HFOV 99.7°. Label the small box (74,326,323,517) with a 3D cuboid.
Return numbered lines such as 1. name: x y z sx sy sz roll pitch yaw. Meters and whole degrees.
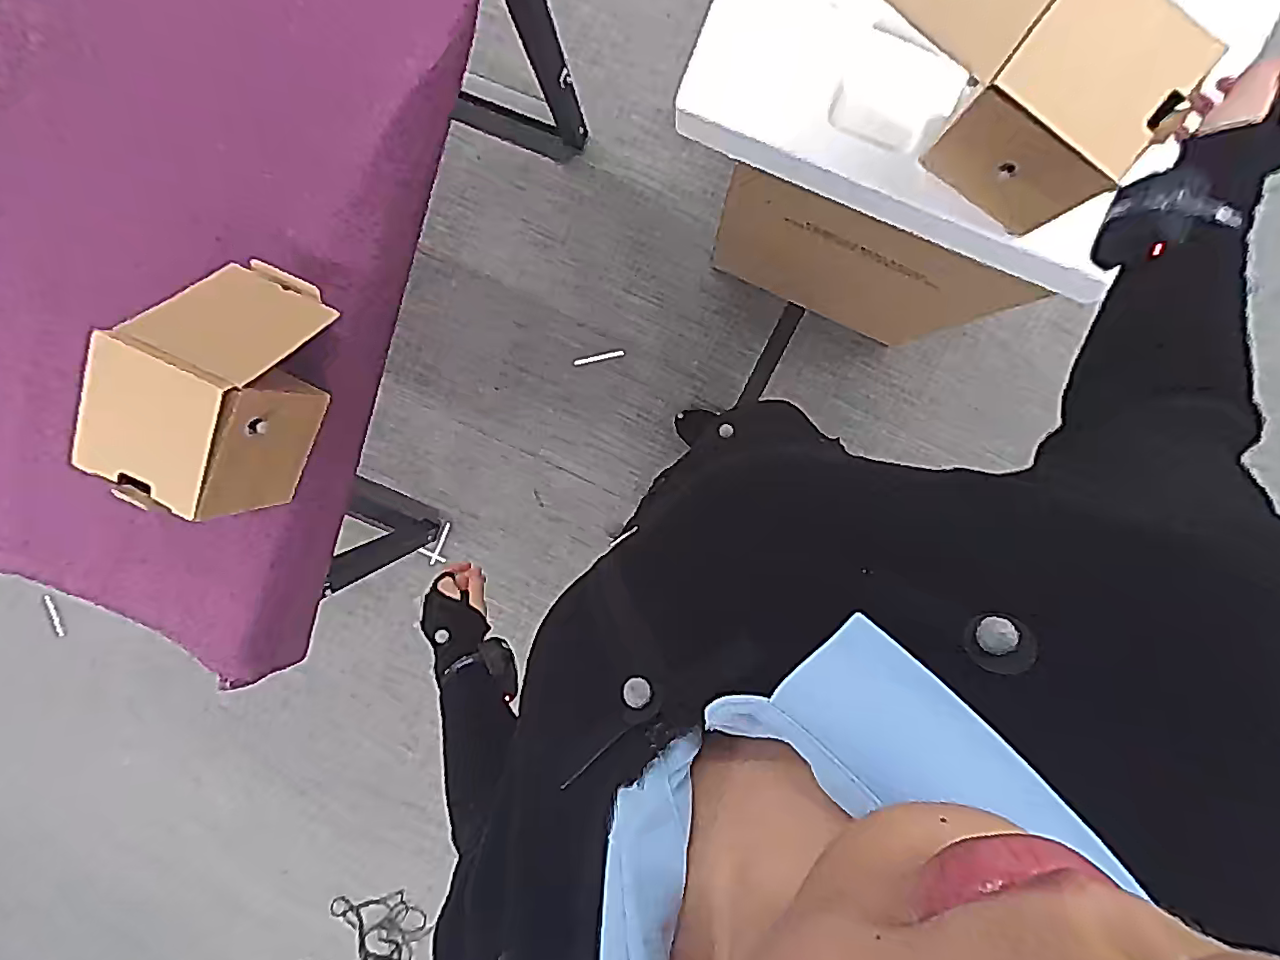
1. small box: -0.559 -0.075 0.711 0.168 0.176 0.179 25 98 1
